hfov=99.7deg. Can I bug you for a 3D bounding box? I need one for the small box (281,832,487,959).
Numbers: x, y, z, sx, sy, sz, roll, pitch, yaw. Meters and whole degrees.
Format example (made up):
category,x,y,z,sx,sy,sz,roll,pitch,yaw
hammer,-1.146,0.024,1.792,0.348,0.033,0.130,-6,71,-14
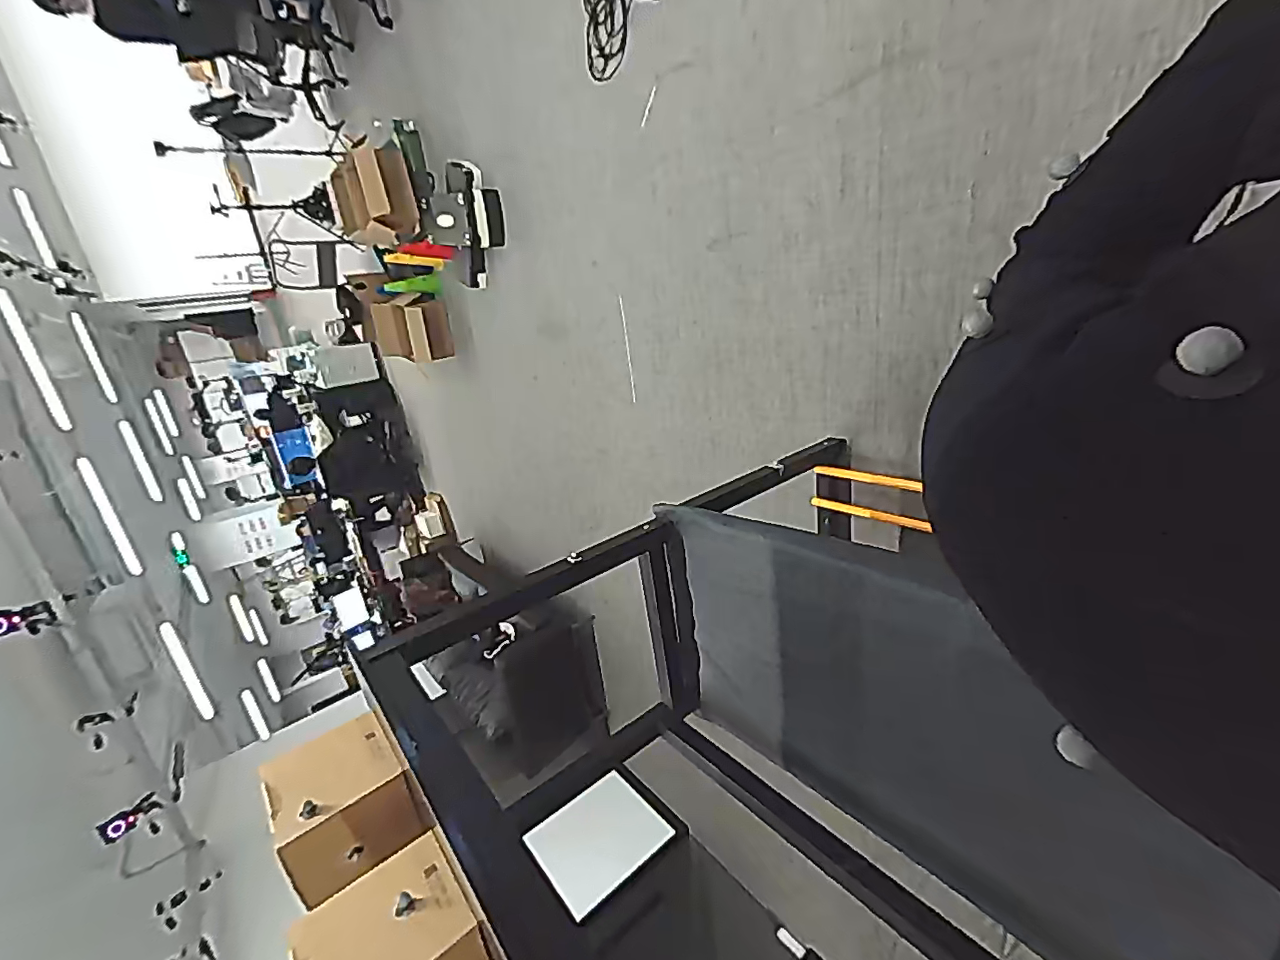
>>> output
category,x,y,z,sx,sy,sz,roll,pitch,yaw
small box,-0.267,0.551,0.597,0.168,0.176,0.179,9,114,52
